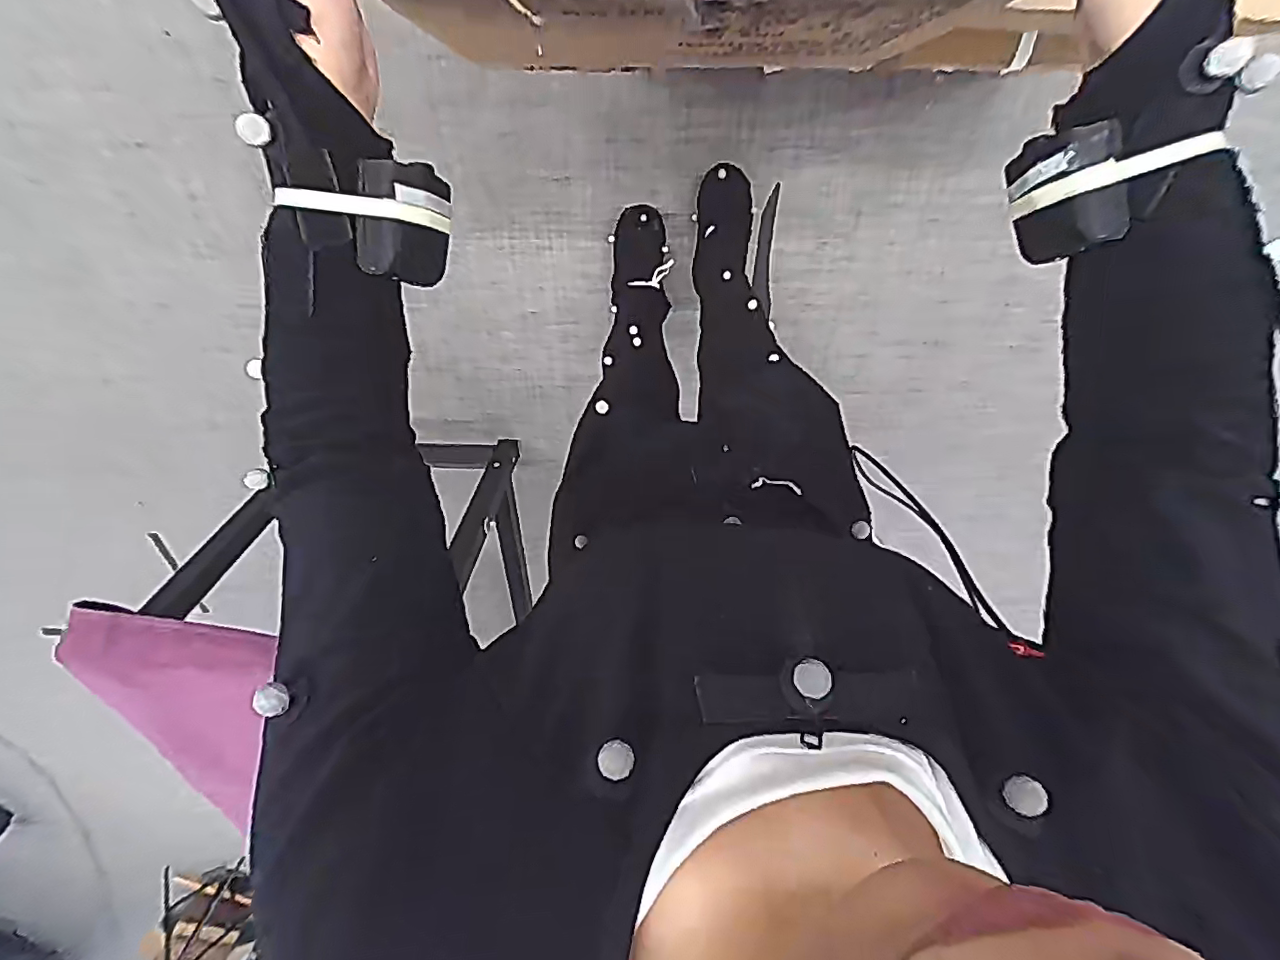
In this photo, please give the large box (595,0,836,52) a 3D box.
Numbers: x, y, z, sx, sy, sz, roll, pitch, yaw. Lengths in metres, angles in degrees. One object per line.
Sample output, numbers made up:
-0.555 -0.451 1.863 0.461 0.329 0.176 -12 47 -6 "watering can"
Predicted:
0.095 -0.828 0.711 0.320 0.320 0.408 1 128 3 "large box"
